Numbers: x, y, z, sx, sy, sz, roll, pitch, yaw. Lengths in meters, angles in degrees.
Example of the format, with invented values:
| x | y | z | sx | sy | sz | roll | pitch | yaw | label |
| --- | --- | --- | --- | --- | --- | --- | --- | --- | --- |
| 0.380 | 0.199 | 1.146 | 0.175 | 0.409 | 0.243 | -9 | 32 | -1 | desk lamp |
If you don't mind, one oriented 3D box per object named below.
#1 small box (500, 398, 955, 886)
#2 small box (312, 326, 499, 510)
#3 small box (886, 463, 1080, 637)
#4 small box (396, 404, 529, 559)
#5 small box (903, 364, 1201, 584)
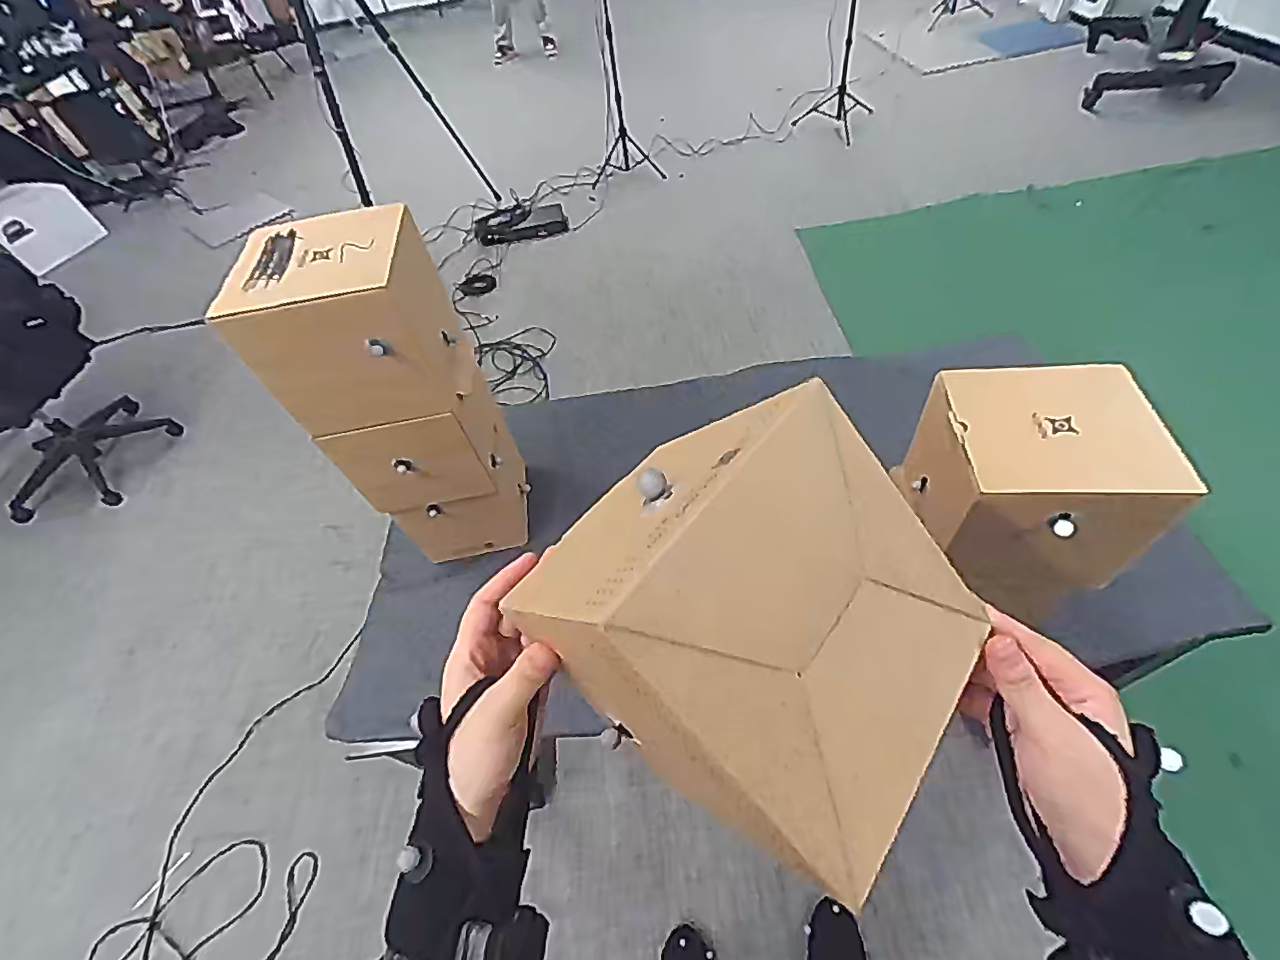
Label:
| x | y | z | sx | sy | sz | roll | pitch | yaw | label |
| --- | --- | --- | --- | --- | --- | --- | --- | --- | --- |
| 0.050 | 0.080 | 0.318 | 0.168 | 0.179 | 0.176 | -44 | 14 | -25 | small box |
| -0.304 | -0.080 | 0.747 | 0.179 | 0.176 | 0.168 | -11 | 53 | 1 | small box |
| 0.421 | 0.087 | 0.705 | 0.168 | 0.176 | 0.179 | -9 | 51 | 4 | small box |
| -0.286 | 0.005 | 0.888 | 0.168 | 0.176 | 0.179 | -11 | 53 | 0 | small box |
| 0.400 | -0.002 | 0.570 | 0.179 | 0.176 | 0.168 | -1 | 52 | 11 | small box |
